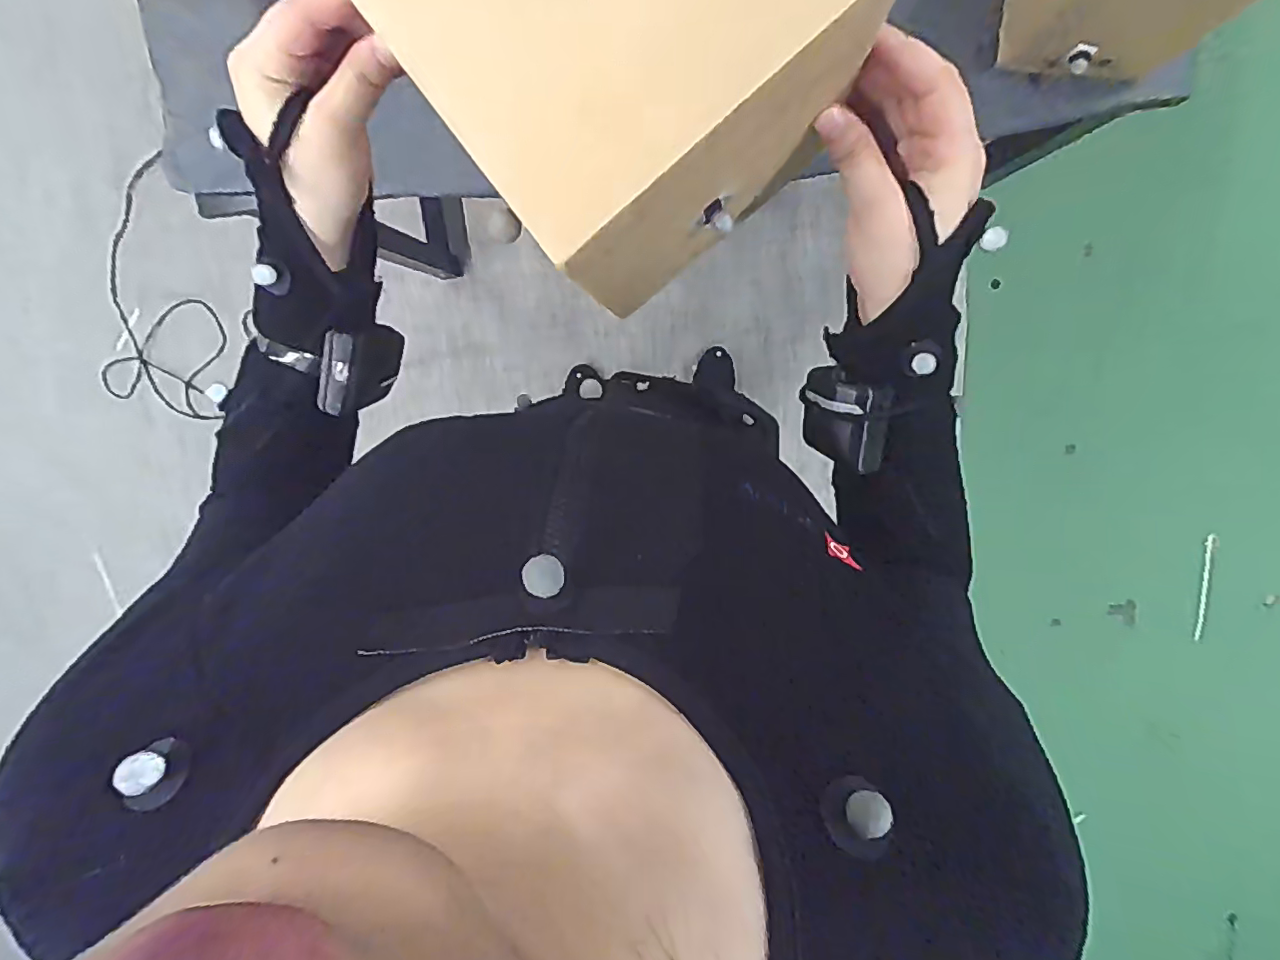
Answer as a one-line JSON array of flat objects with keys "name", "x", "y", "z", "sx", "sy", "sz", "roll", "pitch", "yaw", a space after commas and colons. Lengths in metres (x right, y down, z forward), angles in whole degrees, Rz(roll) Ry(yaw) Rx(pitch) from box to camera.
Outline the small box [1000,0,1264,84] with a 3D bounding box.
[{"name": "small box", "x": 0.482, "y": -0.523, "z": 0.516, "sx": 0.168, "sy": 0.176, "sz": 0.179, "roll": 5, "pitch": 100, "yaw": 4}]
